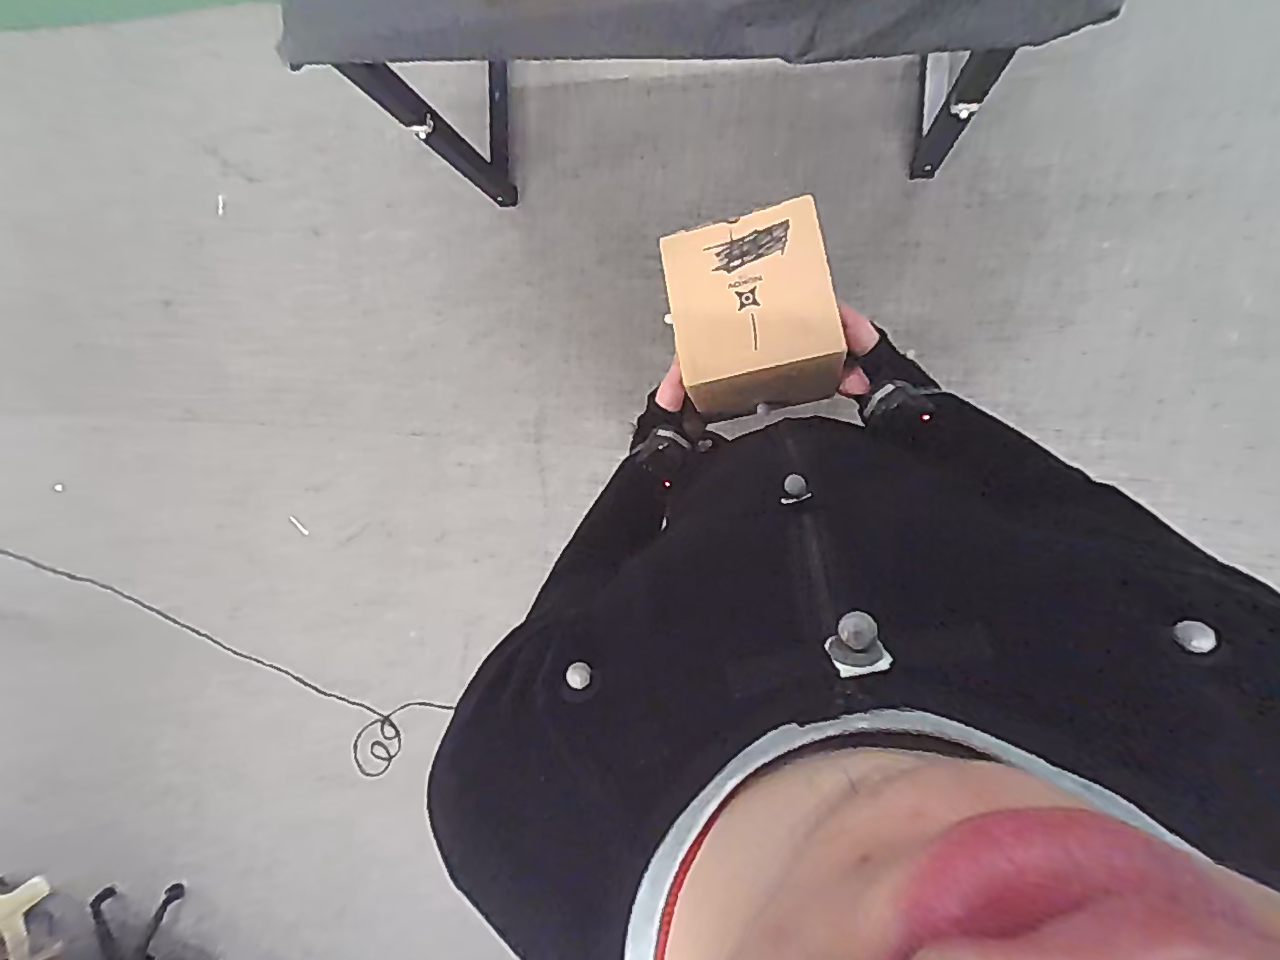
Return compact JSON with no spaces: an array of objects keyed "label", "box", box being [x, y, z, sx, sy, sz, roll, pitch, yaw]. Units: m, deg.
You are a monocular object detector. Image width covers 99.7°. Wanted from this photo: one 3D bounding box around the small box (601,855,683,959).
[{"label":"small box","box":[0.014,1.292,1.635,0.179,0.176,0.168,-45,85,13]}]
